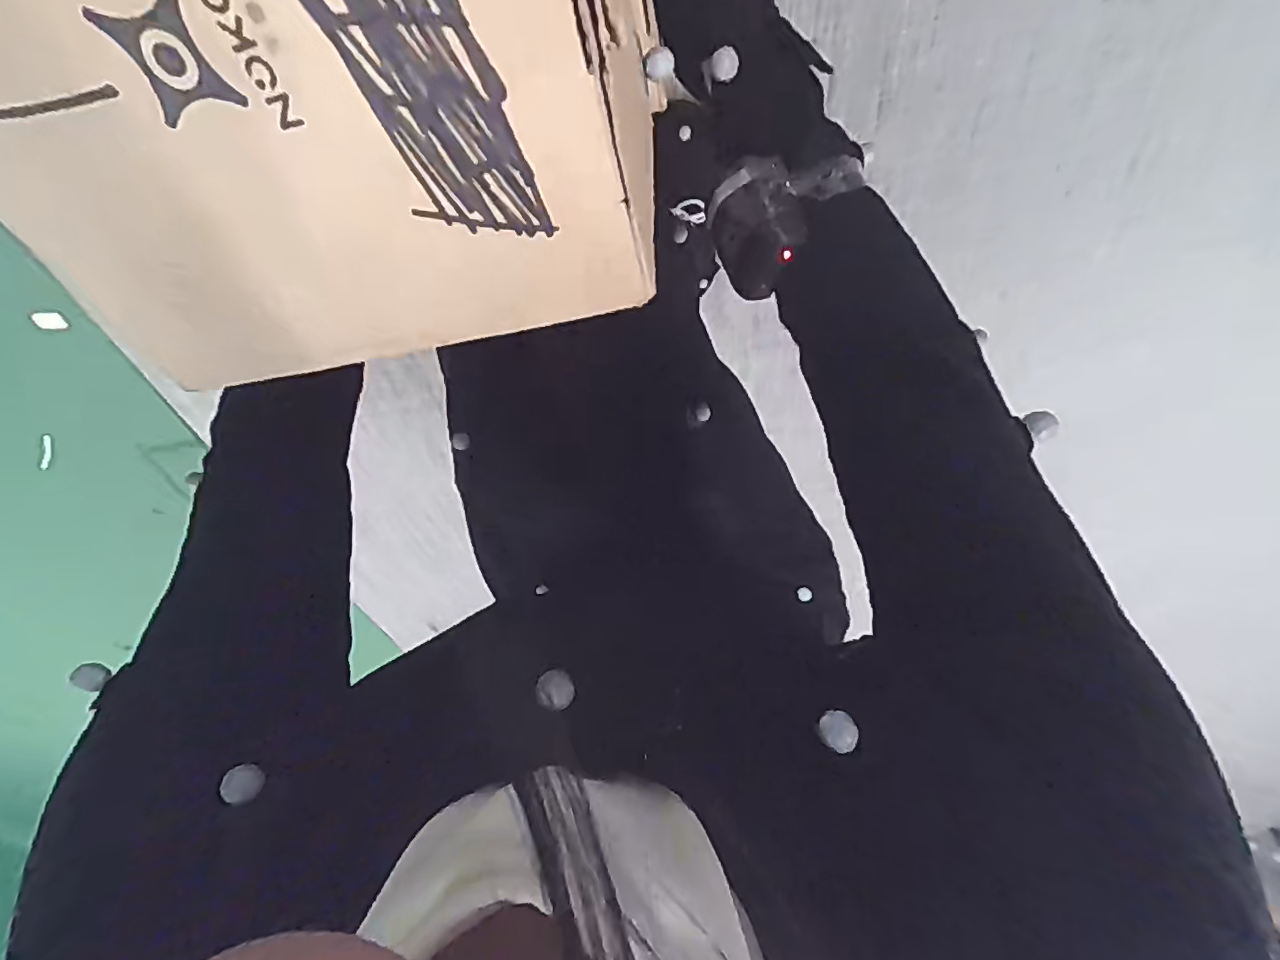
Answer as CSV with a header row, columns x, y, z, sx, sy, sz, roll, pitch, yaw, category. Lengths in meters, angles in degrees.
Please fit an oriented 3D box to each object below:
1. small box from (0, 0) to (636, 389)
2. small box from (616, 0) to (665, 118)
x,y,z,sx,sy,sz,roll,pitch,yaw,category
-0.099,-0.153,0.169,0.179,0.176,0.168,-6,137,9,small box
-0.089,-0.281,0.273,0.179,0.176,0.168,-8,137,11,small box
